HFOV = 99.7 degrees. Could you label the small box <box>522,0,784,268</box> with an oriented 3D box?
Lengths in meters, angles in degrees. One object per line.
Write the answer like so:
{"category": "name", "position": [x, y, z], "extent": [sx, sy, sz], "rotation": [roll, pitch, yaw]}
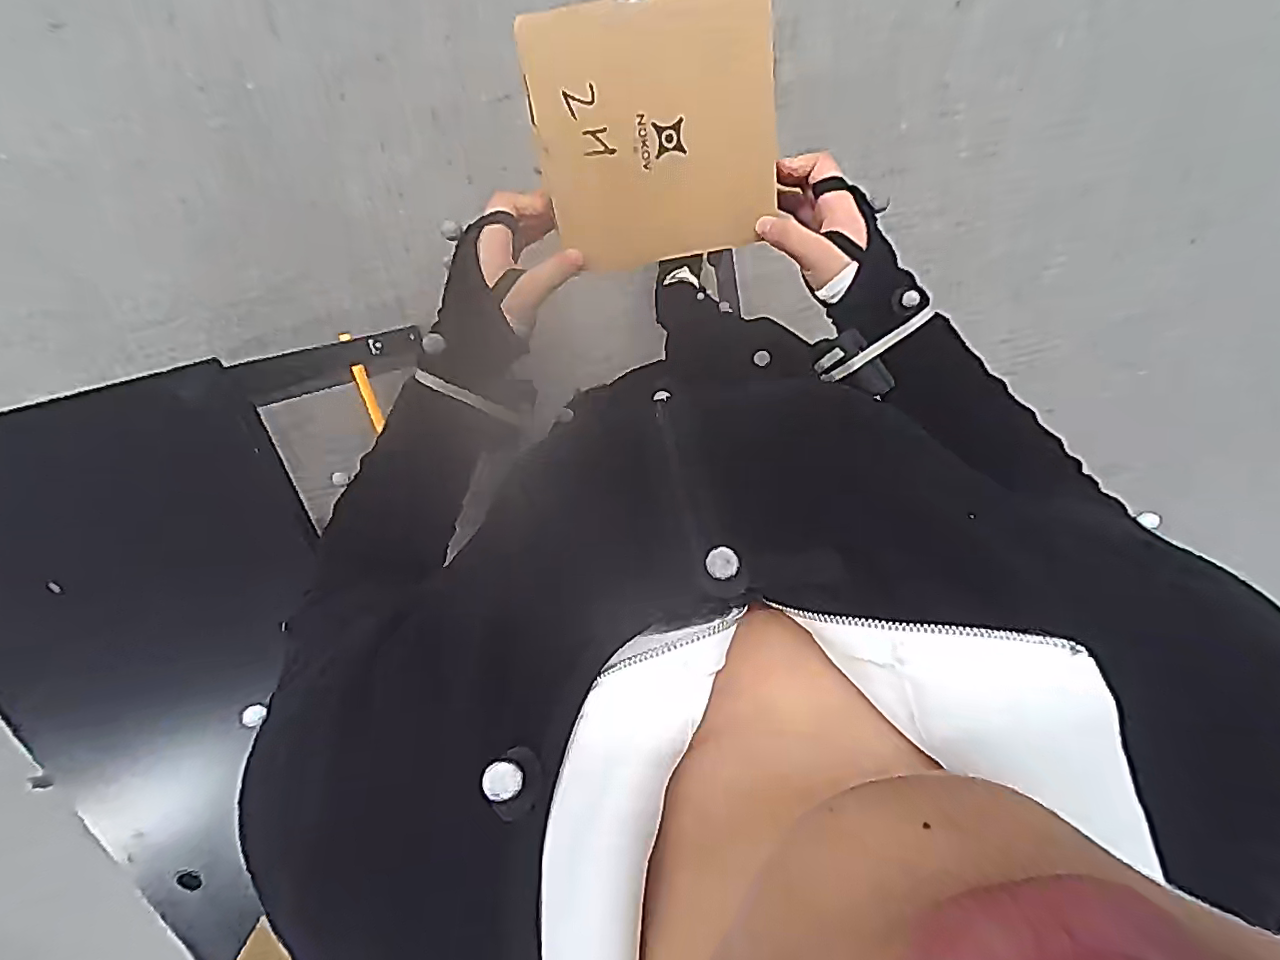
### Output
{"category": "small box", "position": [0.011, -0.291, 0.461], "extent": [0.179, 0.176, 0.168], "rotation": [-10, 119, 1]}
